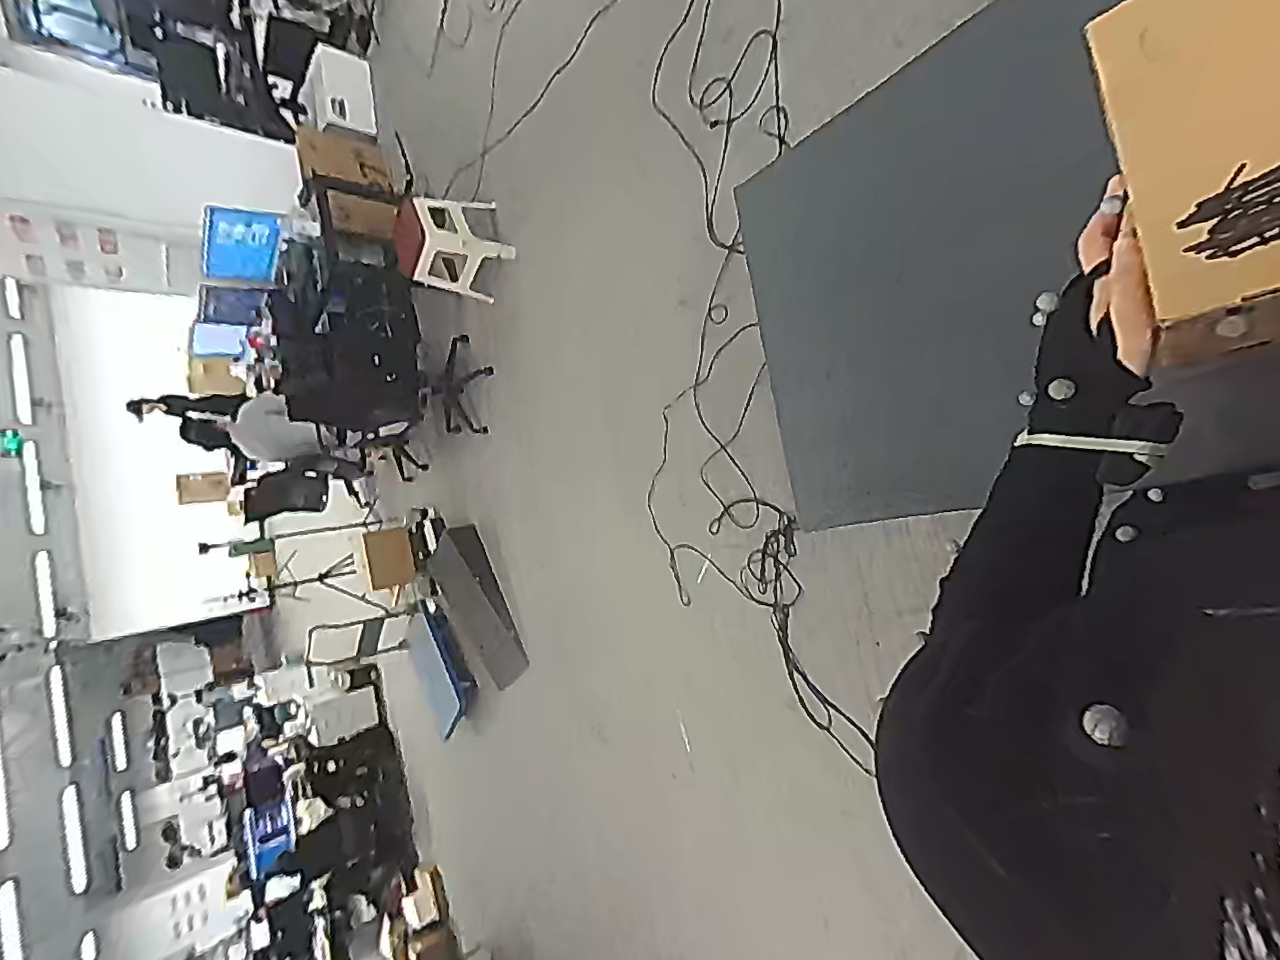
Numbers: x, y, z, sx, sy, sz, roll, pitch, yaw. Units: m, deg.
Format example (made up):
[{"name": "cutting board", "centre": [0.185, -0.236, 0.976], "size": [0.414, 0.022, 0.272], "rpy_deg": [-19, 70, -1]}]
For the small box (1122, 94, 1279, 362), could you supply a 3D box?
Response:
[{"name": "small box", "centre": [0.551, -0.213, 0.462], "size": [0.168, 0.176, 0.179], "rpy_deg": [-19, 81, 49]}]
